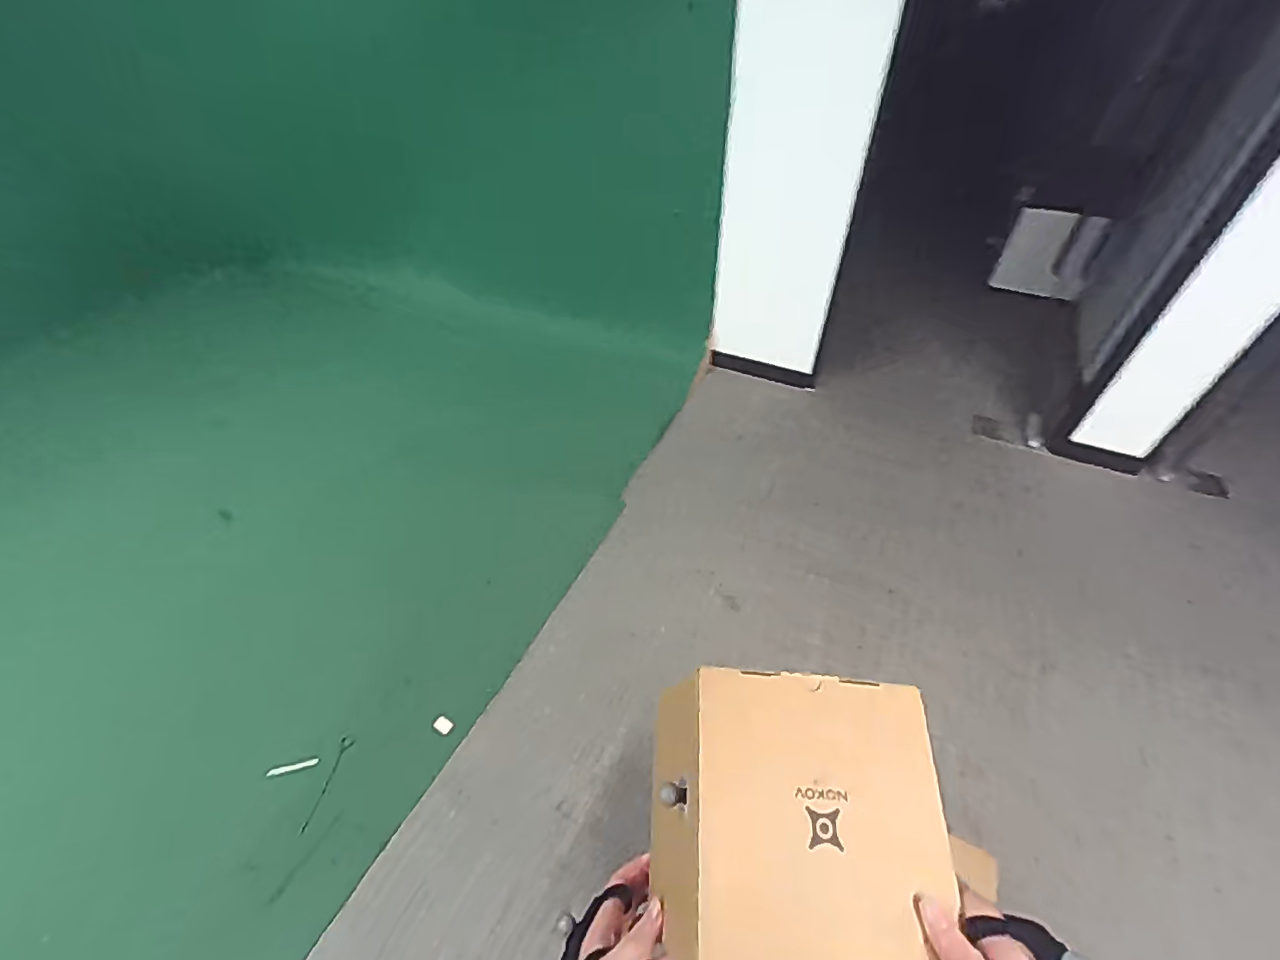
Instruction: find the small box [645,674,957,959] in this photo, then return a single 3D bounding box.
[{"bbox_3d":[0.099,0.258,0.409,0.168,0.176,0.179,7,60,-6],"label":"small box"}]
